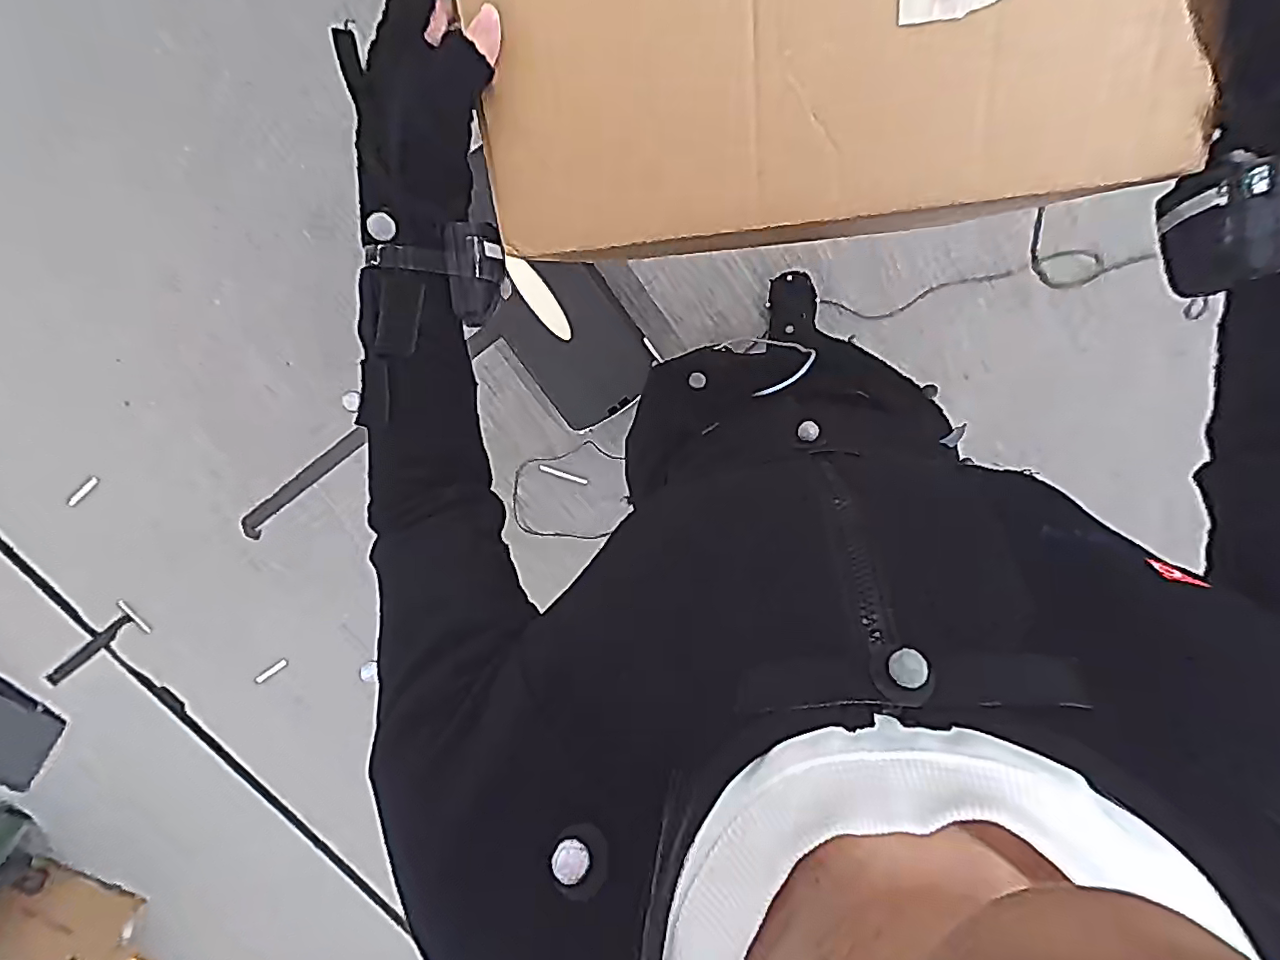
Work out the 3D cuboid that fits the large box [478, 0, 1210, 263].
[{"bbox_3d":[0.111,-0.366,0.427,0.408,0.320,0.320,-4,111,8],"label":"large box"}]
